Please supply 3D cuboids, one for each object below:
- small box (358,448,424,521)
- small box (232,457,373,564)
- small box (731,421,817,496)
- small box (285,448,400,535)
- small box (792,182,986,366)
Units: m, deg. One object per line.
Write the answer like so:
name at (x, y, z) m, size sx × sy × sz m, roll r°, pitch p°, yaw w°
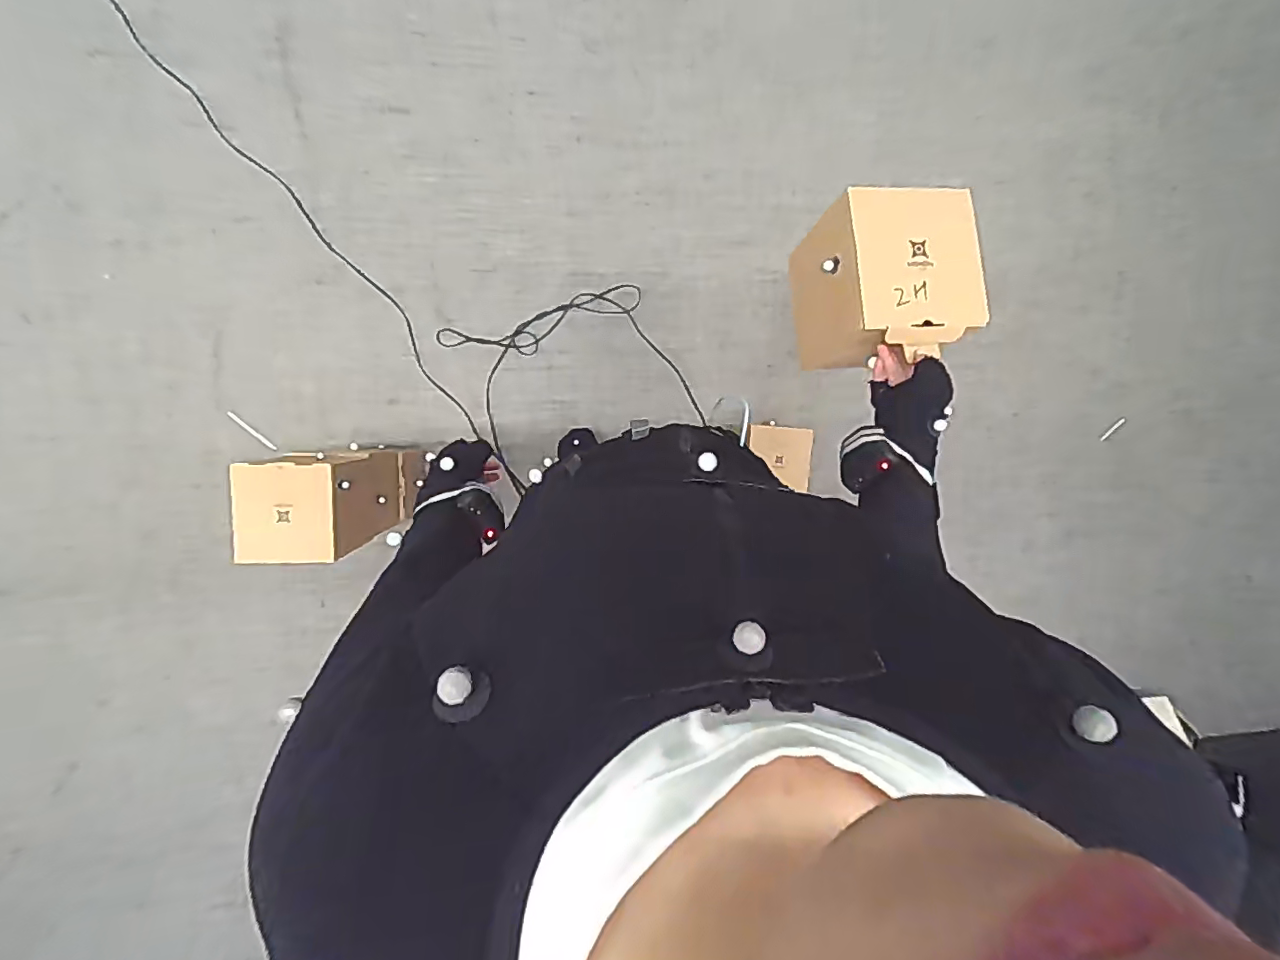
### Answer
small box at (-0.639, 0.007, 1.327) m, size 0.179 × 0.176 × 0.168 m, roll -1°, pitch 96°, yaw -6°
small box at (-0.613, 0.049, 1.003) m, size 0.168 × 0.176 × 0.179 m, roll 0°, pitch 95°, yaw -5°
small box at (0.341, -0.061, 1.414) m, size 0.168 × 0.176 × 0.179 m, roll 3°, pitch 96°, yaw -7°
small box at (-0.630, 0.024, 1.163) m, size 0.168 × 0.176 × 0.179 m, roll 0°, pitch 95°, yaw -6°
small box at (0.316, -0.264, 0.722) m, size 0.168 × 0.176 × 0.179 m, roll -4°, pitch 86°, yaw -9°
